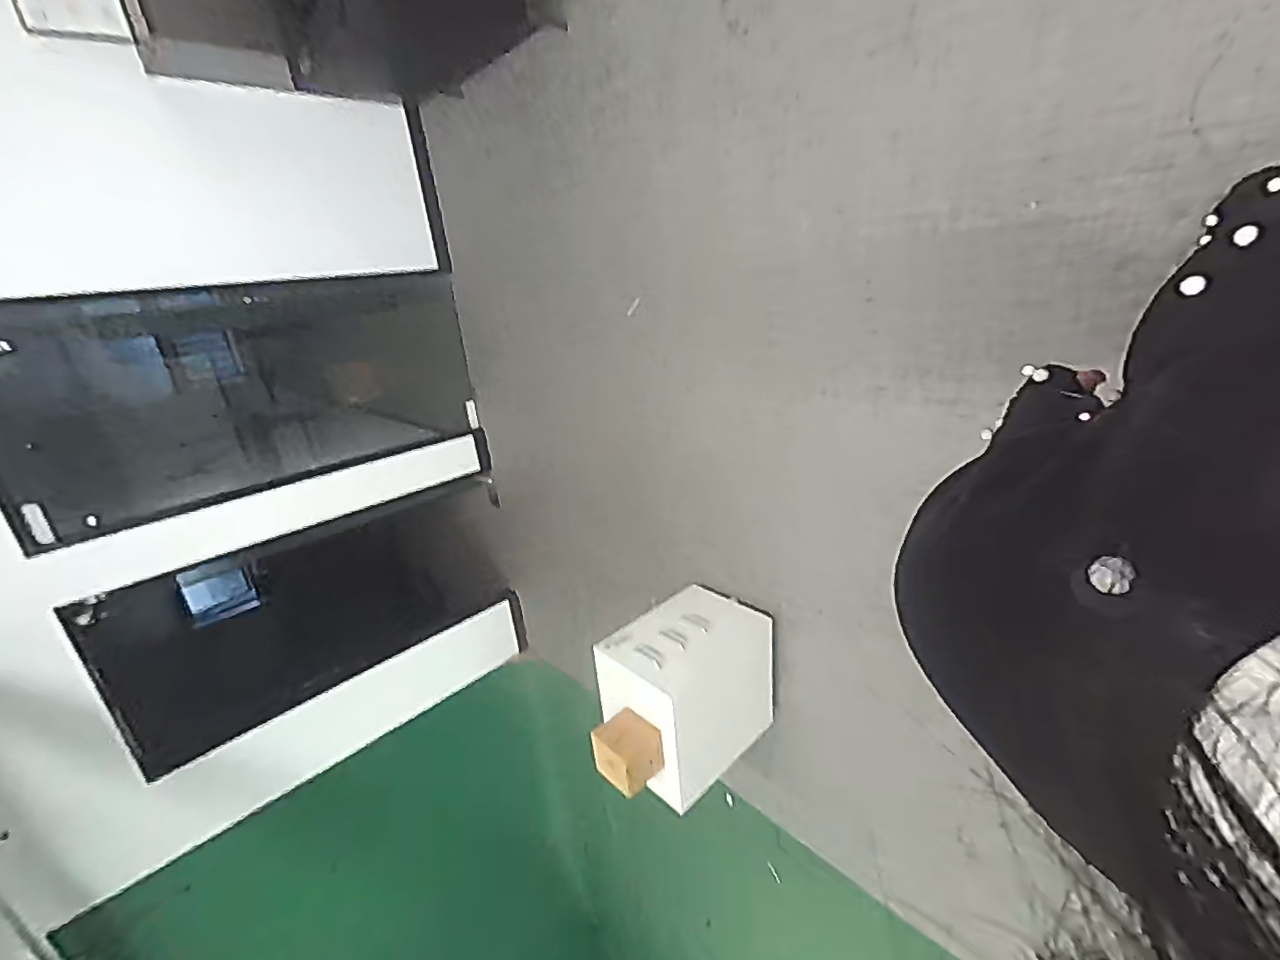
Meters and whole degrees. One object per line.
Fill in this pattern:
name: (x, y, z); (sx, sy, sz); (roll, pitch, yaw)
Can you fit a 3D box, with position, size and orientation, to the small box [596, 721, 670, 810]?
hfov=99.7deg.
small box: (-0.021, 0.940, 1.806); (0.179, 0.176, 0.168); (13, 117, 46)
